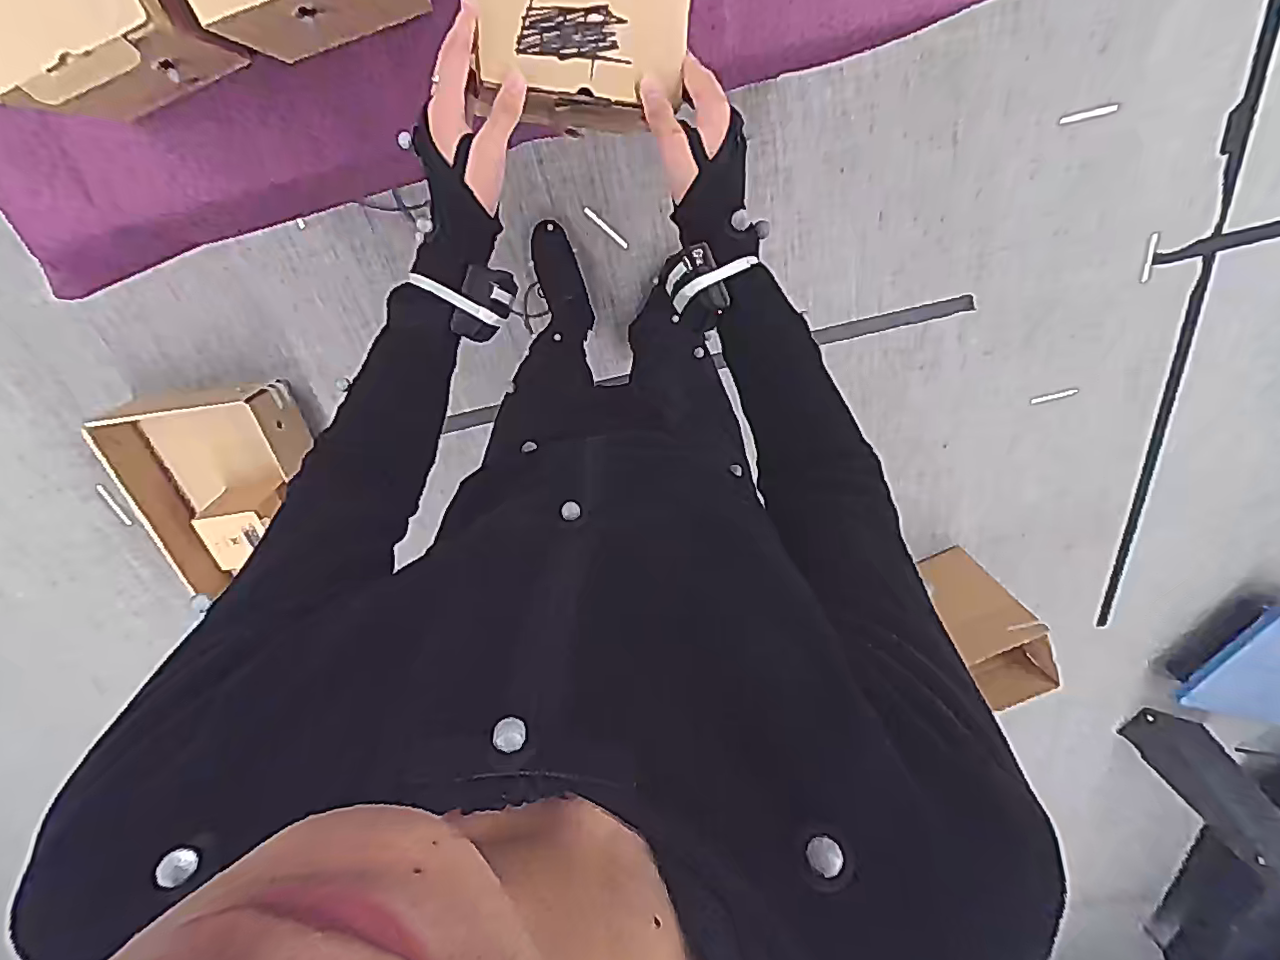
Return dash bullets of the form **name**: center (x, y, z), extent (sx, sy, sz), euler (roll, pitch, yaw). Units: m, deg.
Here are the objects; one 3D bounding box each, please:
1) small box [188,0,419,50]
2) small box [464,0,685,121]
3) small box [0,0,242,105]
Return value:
- **small box**: center (-0.320, -0.518, 0.480), extent (0.179, 0.176, 0.168), euler (-18, 120, 2)
- **small box**: center (-0.062, -0.424, 0.460), extent (0.168, 0.176, 0.179), euler (-4, 116, -17)
- **small box**: center (-0.518, -0.465, 0.485), extent (0.168, 0.176, 0.179), euler (-21, 119, 4)
